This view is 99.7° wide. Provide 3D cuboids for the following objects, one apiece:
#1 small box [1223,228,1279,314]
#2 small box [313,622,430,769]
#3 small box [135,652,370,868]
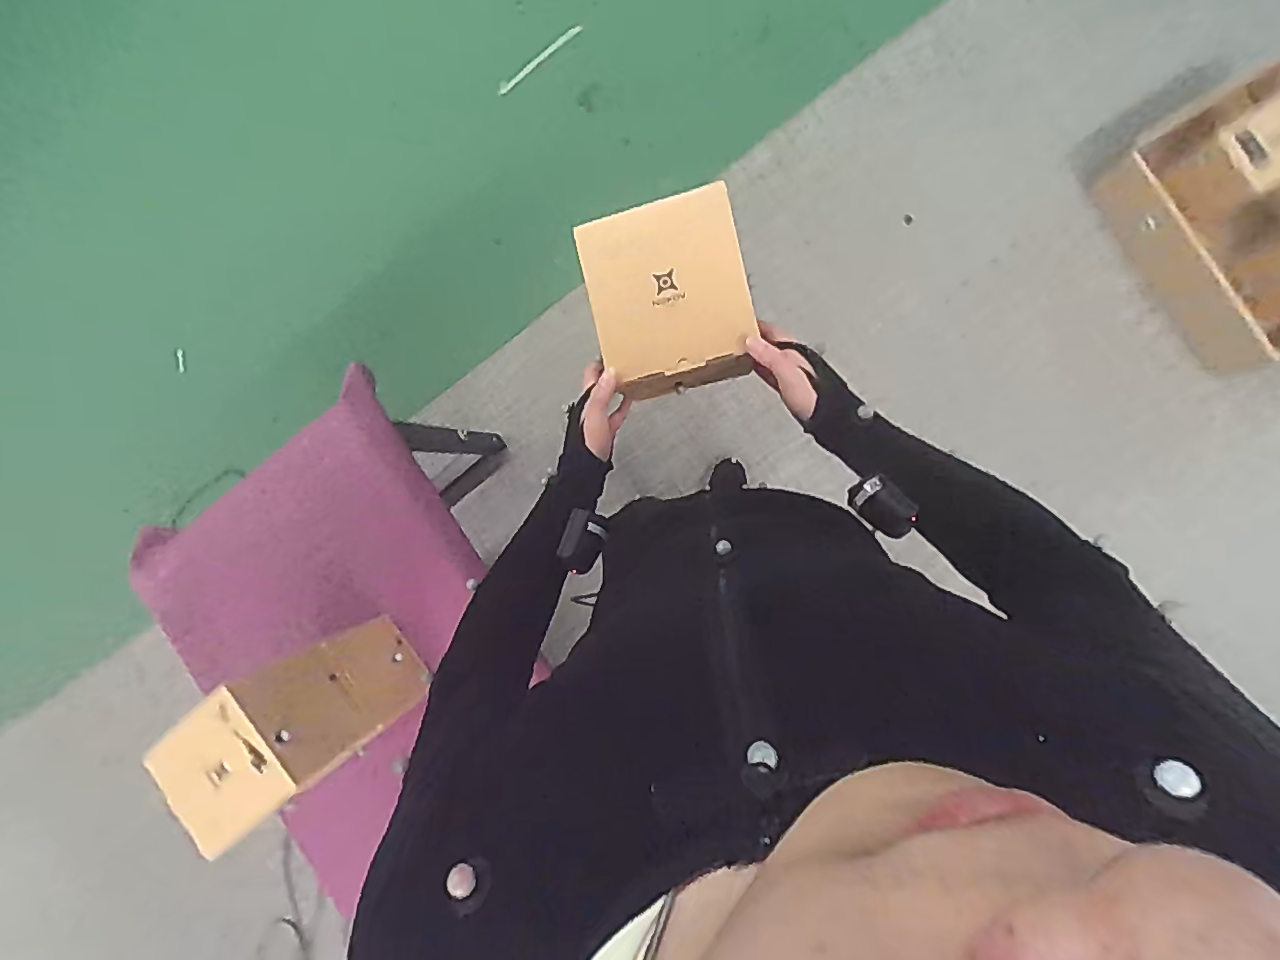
[{"bbox_3d":[1.553,-0.519,1.257,0.179,0.176,0.168,-32,85,8],"label":"small box"},{"bbox_3d":[-0.501,0.373,0.922,0.179,0.176,0.168,-40,86,7],"label":"small box"},{"bbox_3d":[-0.528,0.377,0.760,0.179,0.176,0.168,-41,86,9],"label":"small box"}]
